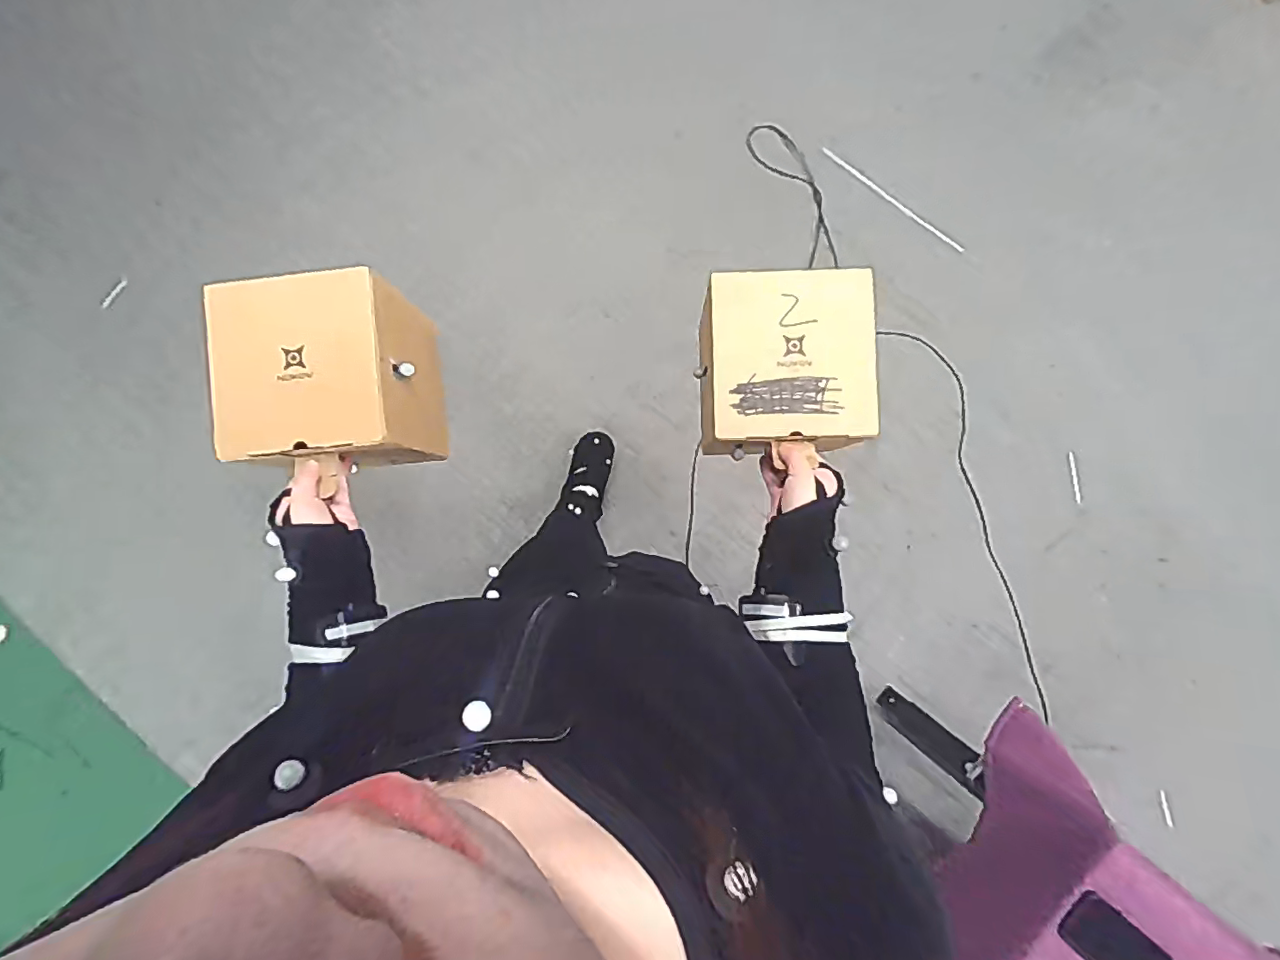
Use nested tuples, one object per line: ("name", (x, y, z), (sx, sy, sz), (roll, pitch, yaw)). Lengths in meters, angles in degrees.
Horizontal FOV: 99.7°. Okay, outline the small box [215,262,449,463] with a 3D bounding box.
("small box", (-0.325, -0.117, 0.602), (0.168, 0.176, 0.179), (-5, 88, 1))
